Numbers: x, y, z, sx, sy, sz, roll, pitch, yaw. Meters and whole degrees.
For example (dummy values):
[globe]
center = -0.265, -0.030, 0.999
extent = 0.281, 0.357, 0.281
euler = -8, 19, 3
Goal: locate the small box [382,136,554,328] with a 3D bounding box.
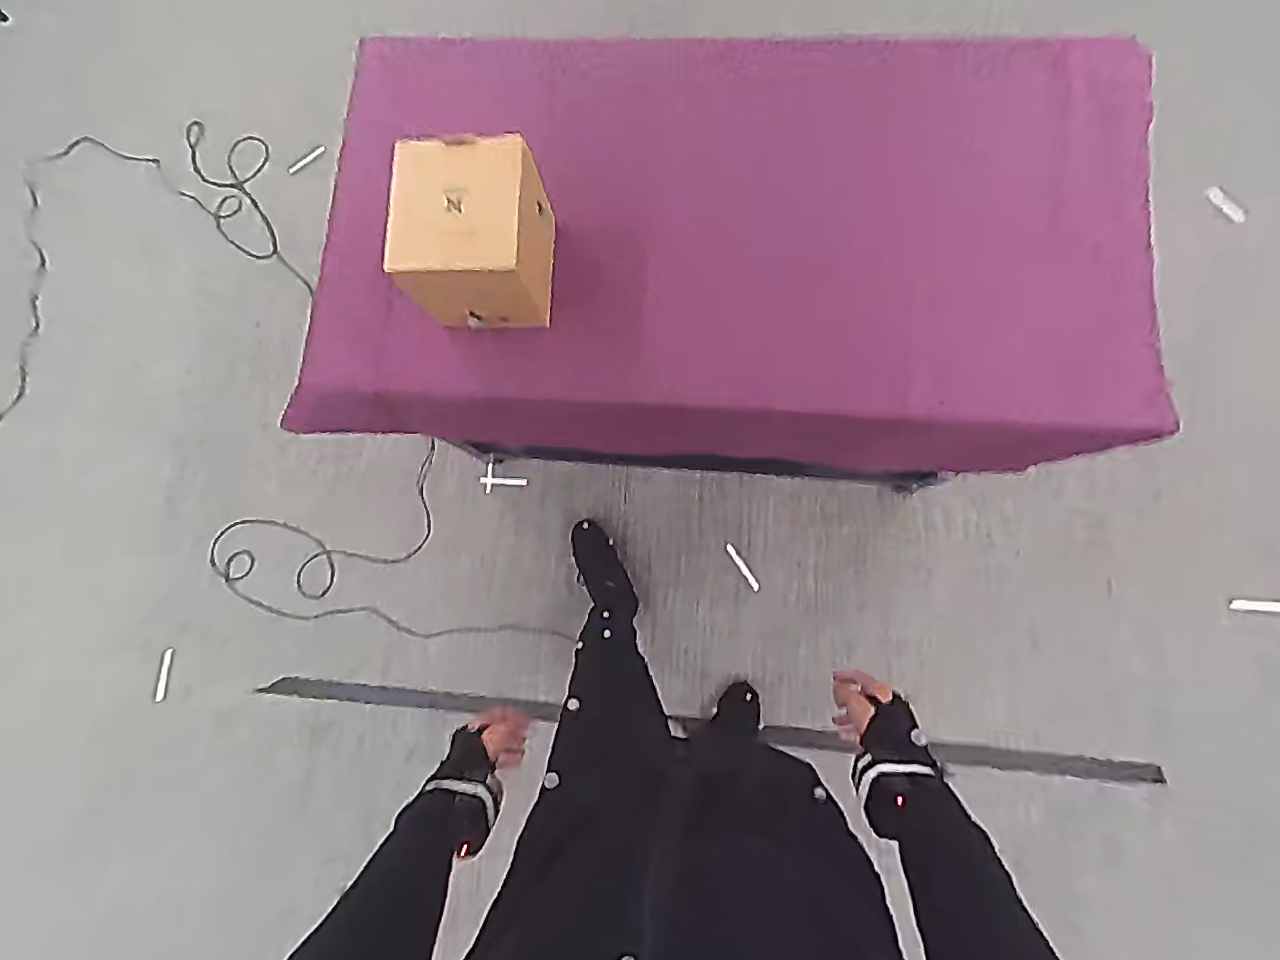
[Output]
[small box]
center = -0.218, -0.326, 0.732
extent = 0.168, 0.176, 0.179
euler = 2, 81, 5
